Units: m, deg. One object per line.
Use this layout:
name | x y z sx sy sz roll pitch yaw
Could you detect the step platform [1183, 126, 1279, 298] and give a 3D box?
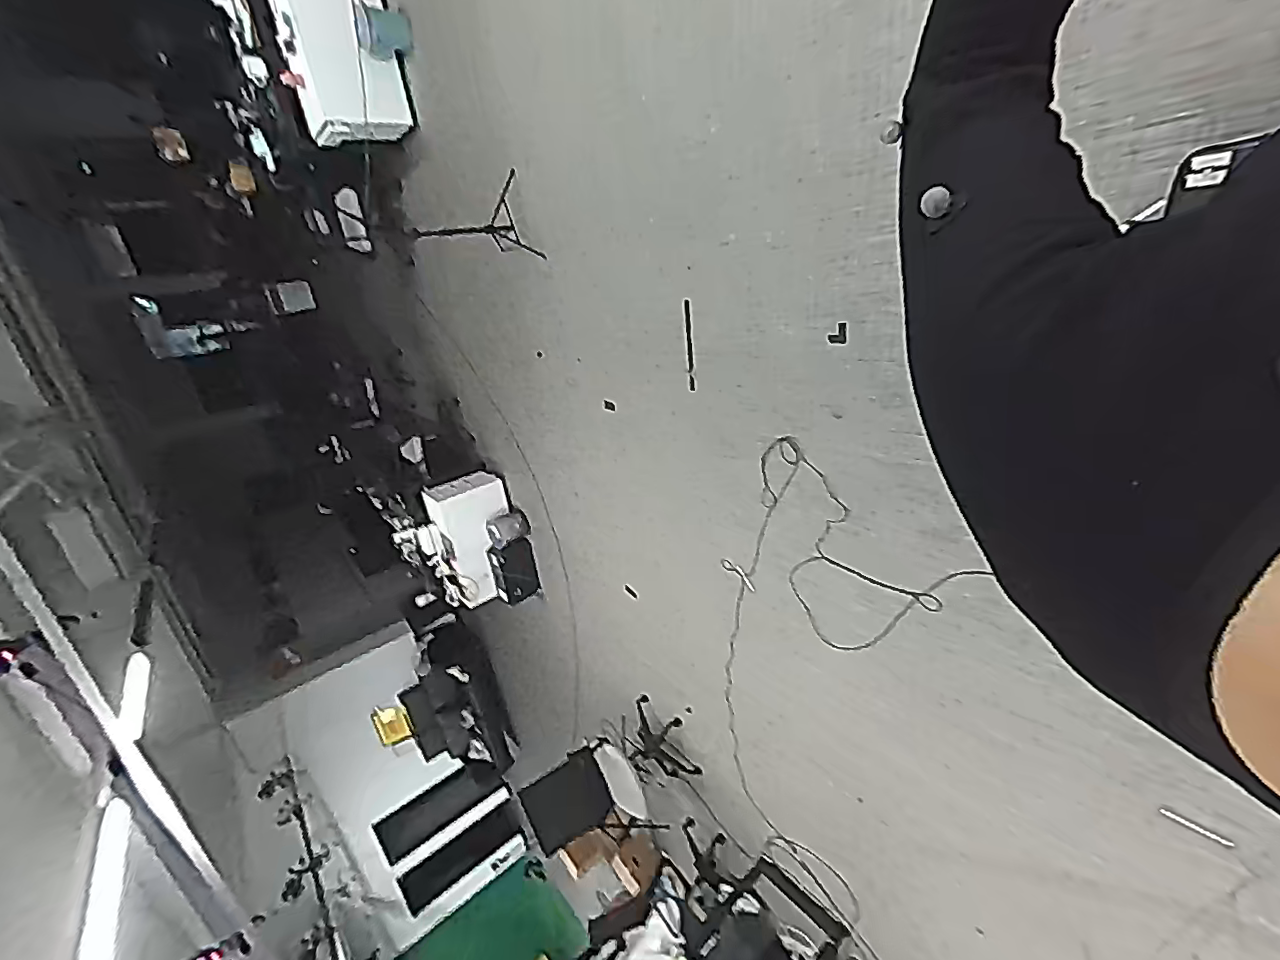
step platform | 1.306 -0.452 0.818 0.684 0.204 0.286 15 121 49
